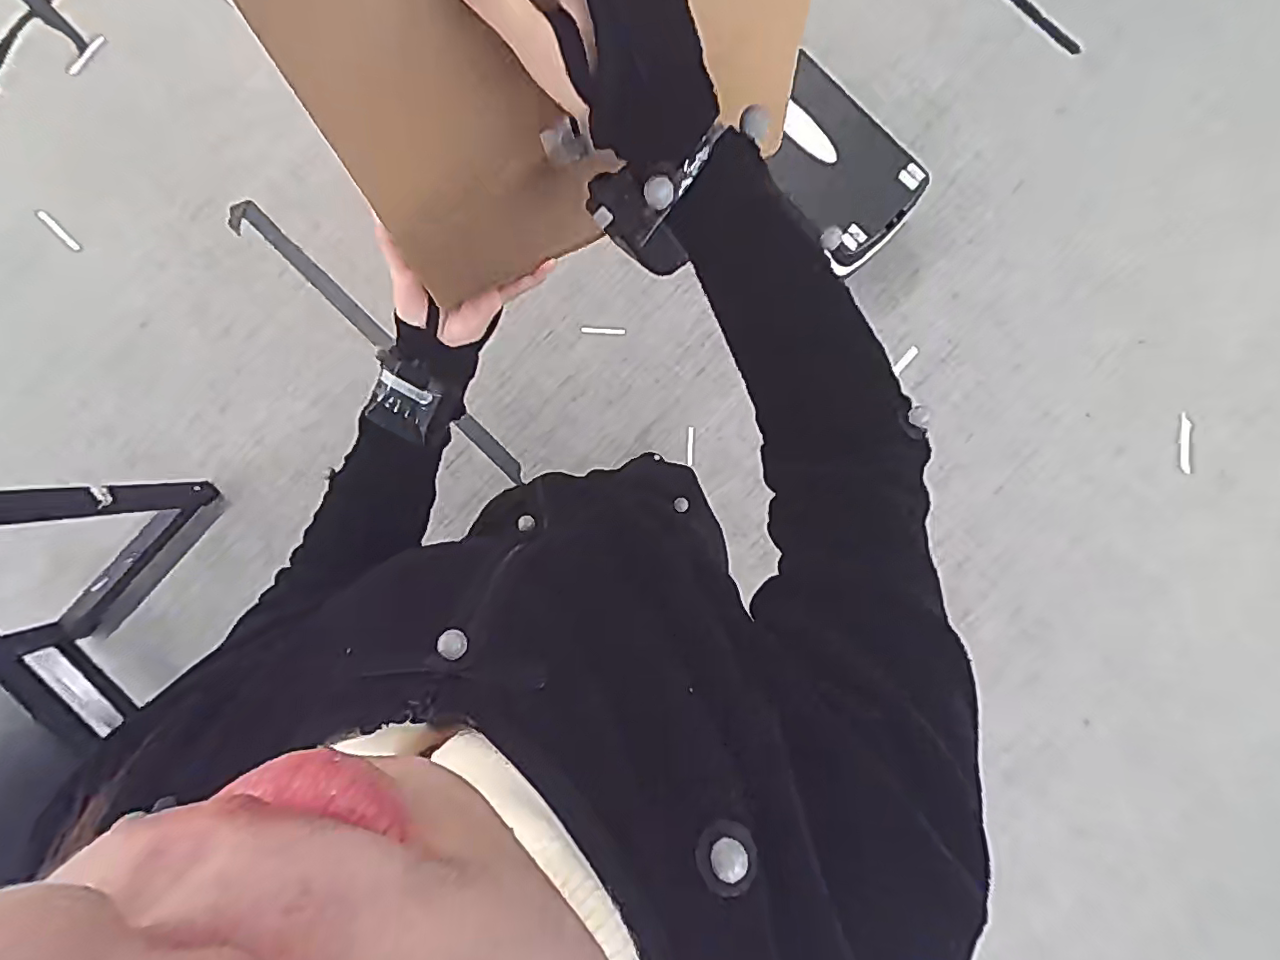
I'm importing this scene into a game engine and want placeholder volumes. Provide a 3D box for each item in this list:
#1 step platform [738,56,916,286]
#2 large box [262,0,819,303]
[{"bbox_3d":[0.353,-0.844,1.357,0.286,0.204,0.684,-41,89,2],"label":"step platform"},{"bbox_3d":[-0.112,-0.409,0.354,0.320,0.320,0.408,-27,71,-6],"label":"large box"}]
